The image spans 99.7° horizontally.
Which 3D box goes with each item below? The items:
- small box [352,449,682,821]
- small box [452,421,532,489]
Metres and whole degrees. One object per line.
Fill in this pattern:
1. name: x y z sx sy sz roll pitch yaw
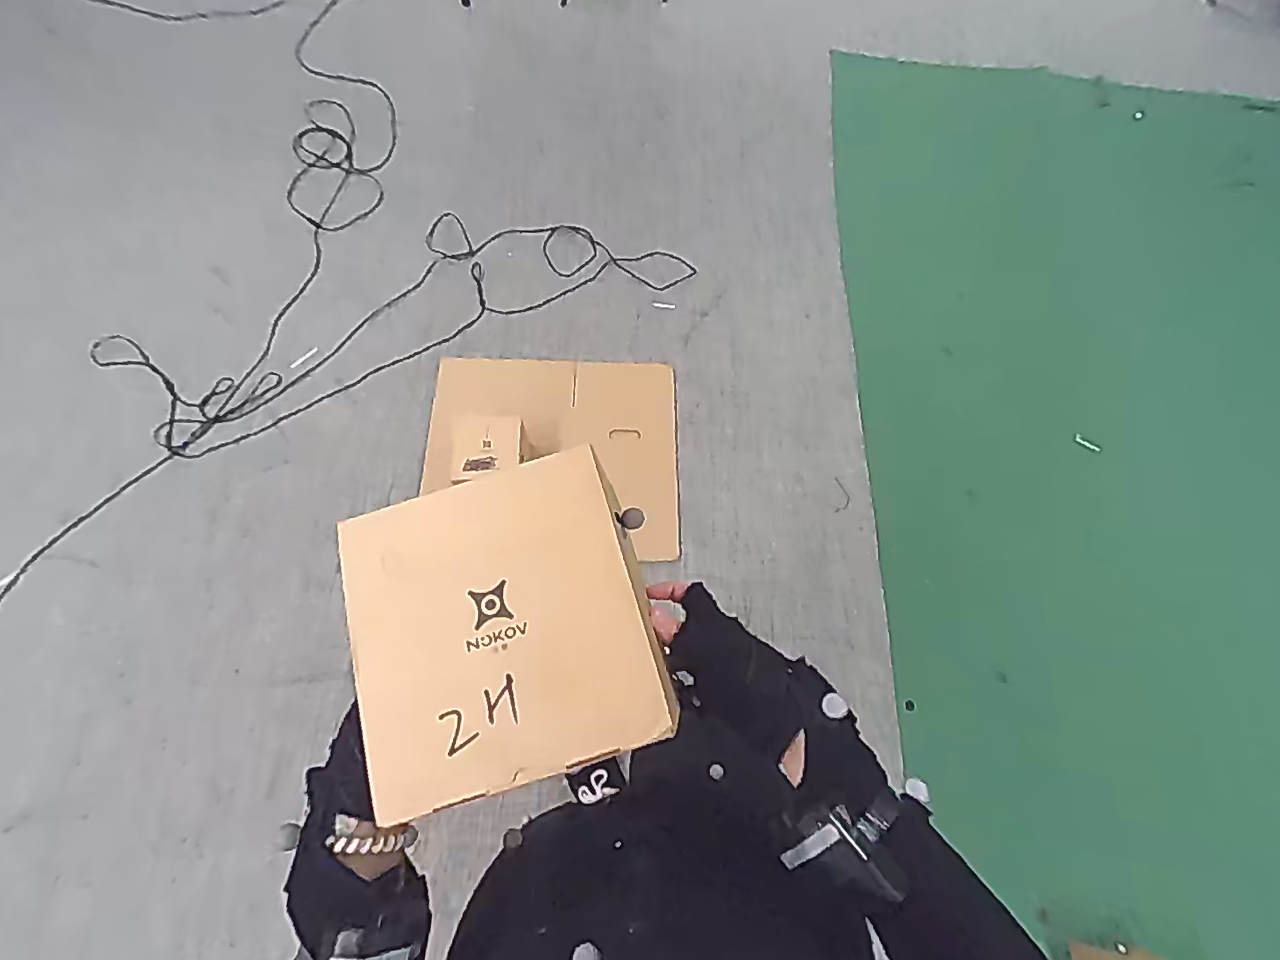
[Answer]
1. small box: -0.073 0.105 0.388 0.168 0.176 0.179 -17 72 0
2. small box: -0.377 -0.038 1.409 0.168 0.176 0.179 -1 68 -3
